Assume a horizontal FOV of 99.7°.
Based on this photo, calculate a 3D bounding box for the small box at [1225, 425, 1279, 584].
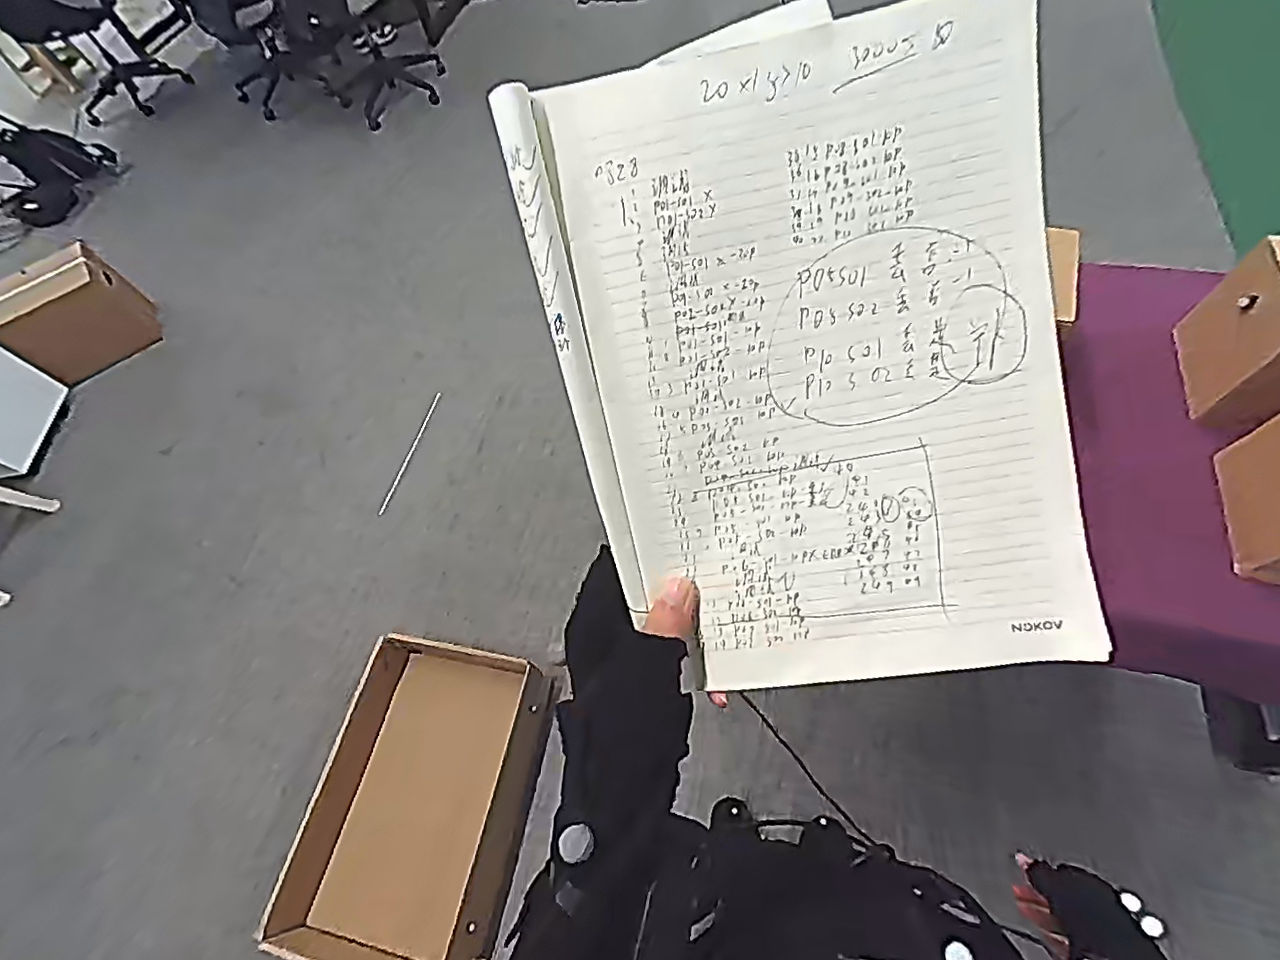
[{"bbox_3d":[0.796,0.027,0.580,0.168,0.176,0.179,14,65,16],"label":"small box"}]

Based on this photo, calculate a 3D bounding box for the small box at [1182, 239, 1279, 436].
[{"bbox_3d":[0.841,-0.169,0.680,0.168,0.176,0.179,12,64,14],"label":"small box"}]
